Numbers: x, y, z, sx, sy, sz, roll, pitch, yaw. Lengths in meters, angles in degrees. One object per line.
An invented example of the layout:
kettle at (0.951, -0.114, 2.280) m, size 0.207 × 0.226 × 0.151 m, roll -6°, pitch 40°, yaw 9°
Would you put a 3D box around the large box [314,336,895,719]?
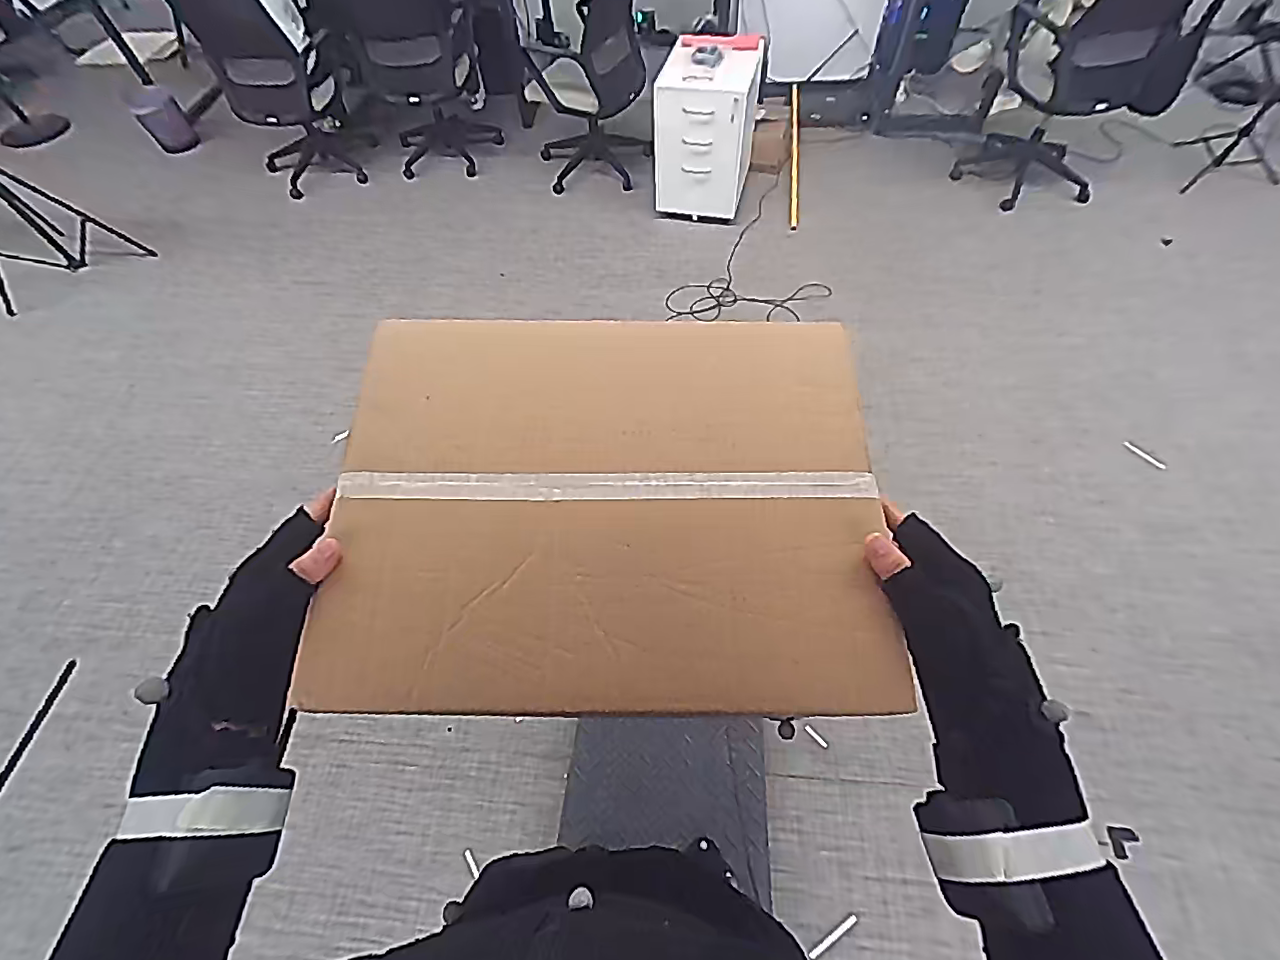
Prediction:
large box at (-0.023, 0.072, 0.559) m, size 0.408 × 0.320 × 0.320 m, roll 0°, pitch 66°, yaw 0°
